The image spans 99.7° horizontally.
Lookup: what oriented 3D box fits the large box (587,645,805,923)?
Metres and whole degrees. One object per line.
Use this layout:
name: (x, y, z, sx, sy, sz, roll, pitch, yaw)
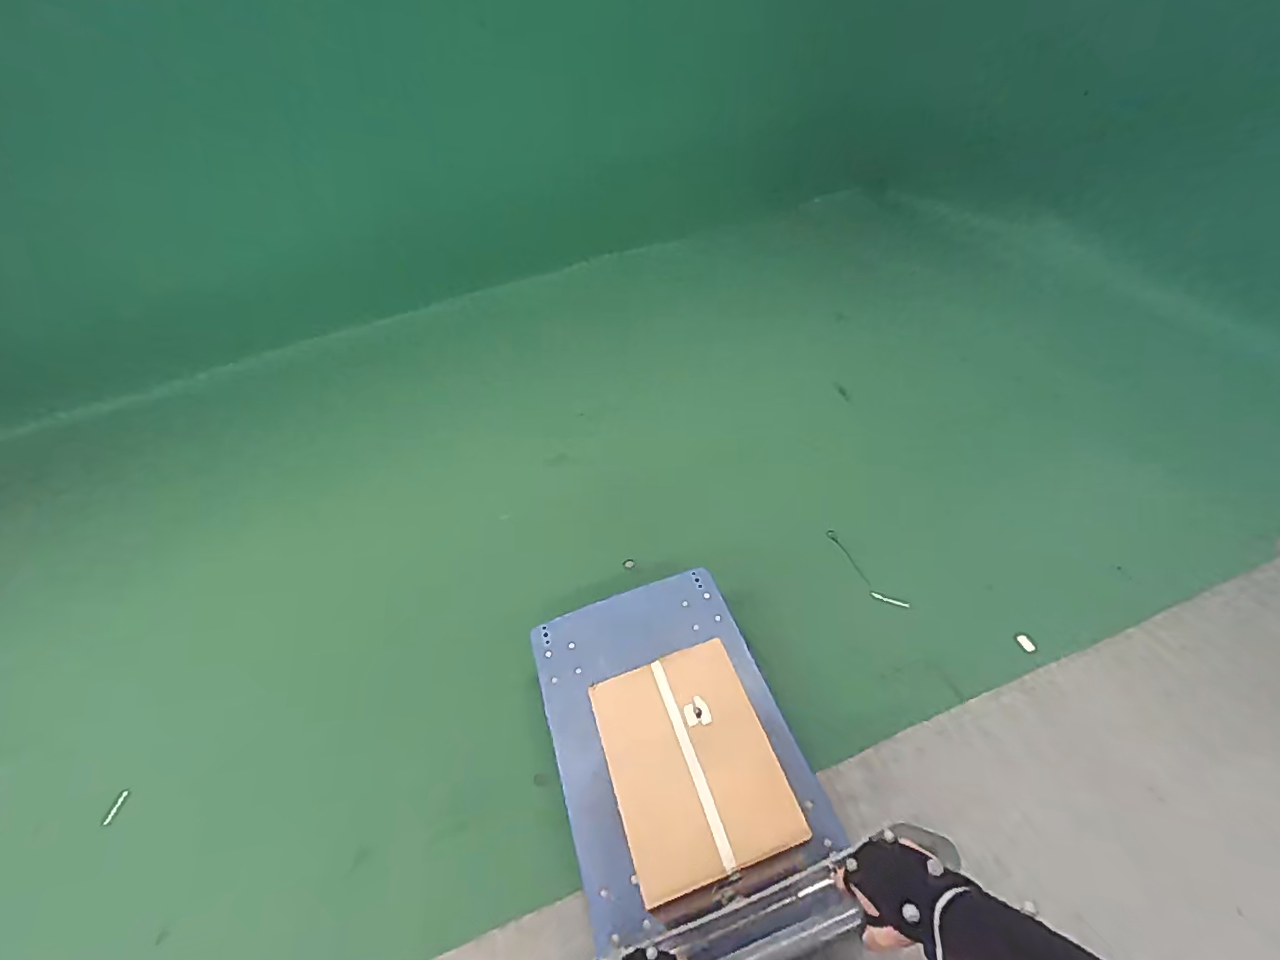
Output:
large box: (0.110, 0.647, 1.170, 0.320, 0.320, 0.408, -18, 47, -7)
